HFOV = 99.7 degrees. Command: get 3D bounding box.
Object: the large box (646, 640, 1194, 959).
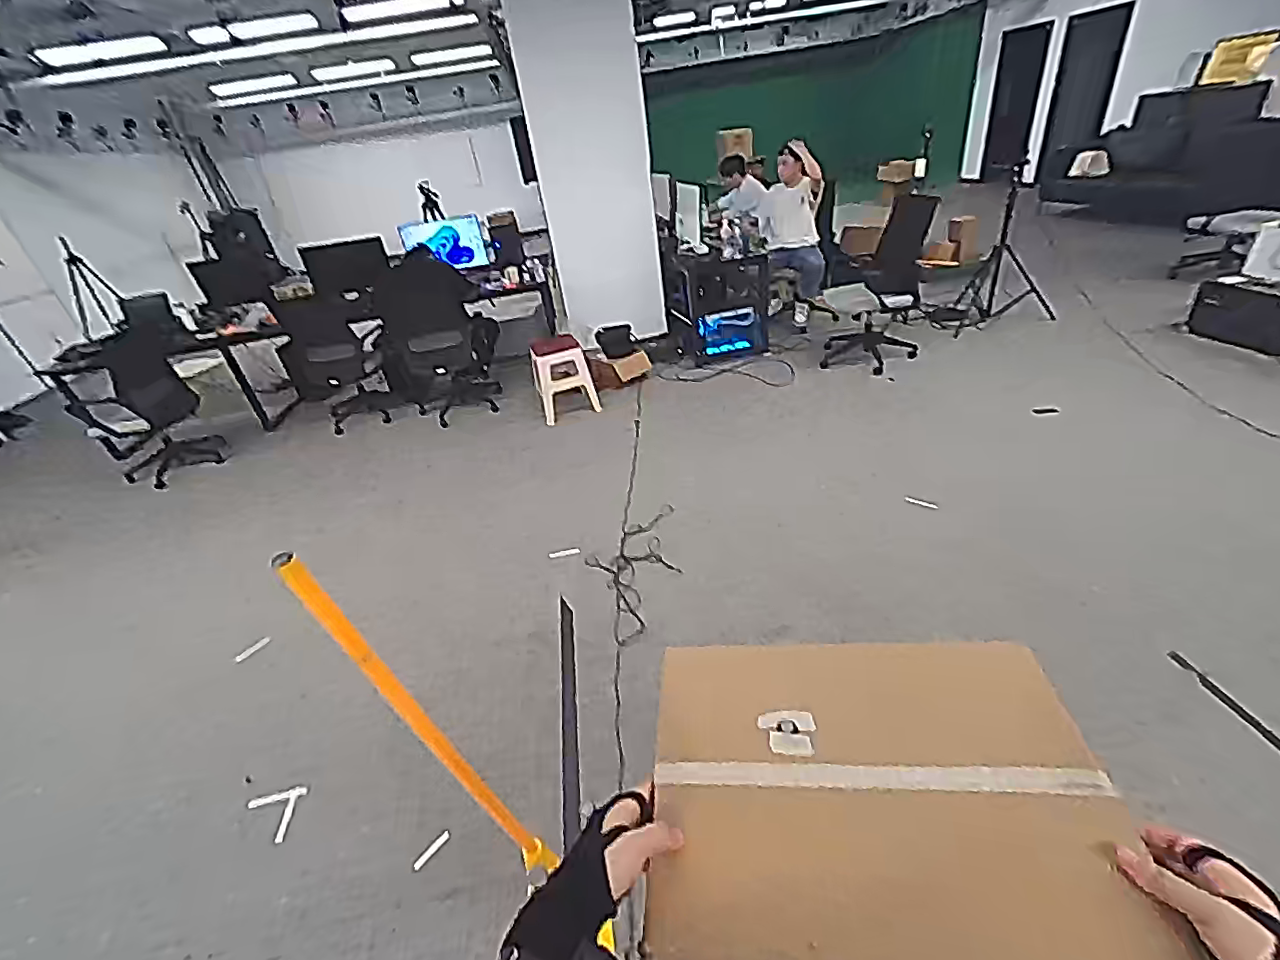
[{"bbox_3d":[0.242,0.409,0.603,0.408,0.320,0.320,-6,33,11],"label":"large box"}]
